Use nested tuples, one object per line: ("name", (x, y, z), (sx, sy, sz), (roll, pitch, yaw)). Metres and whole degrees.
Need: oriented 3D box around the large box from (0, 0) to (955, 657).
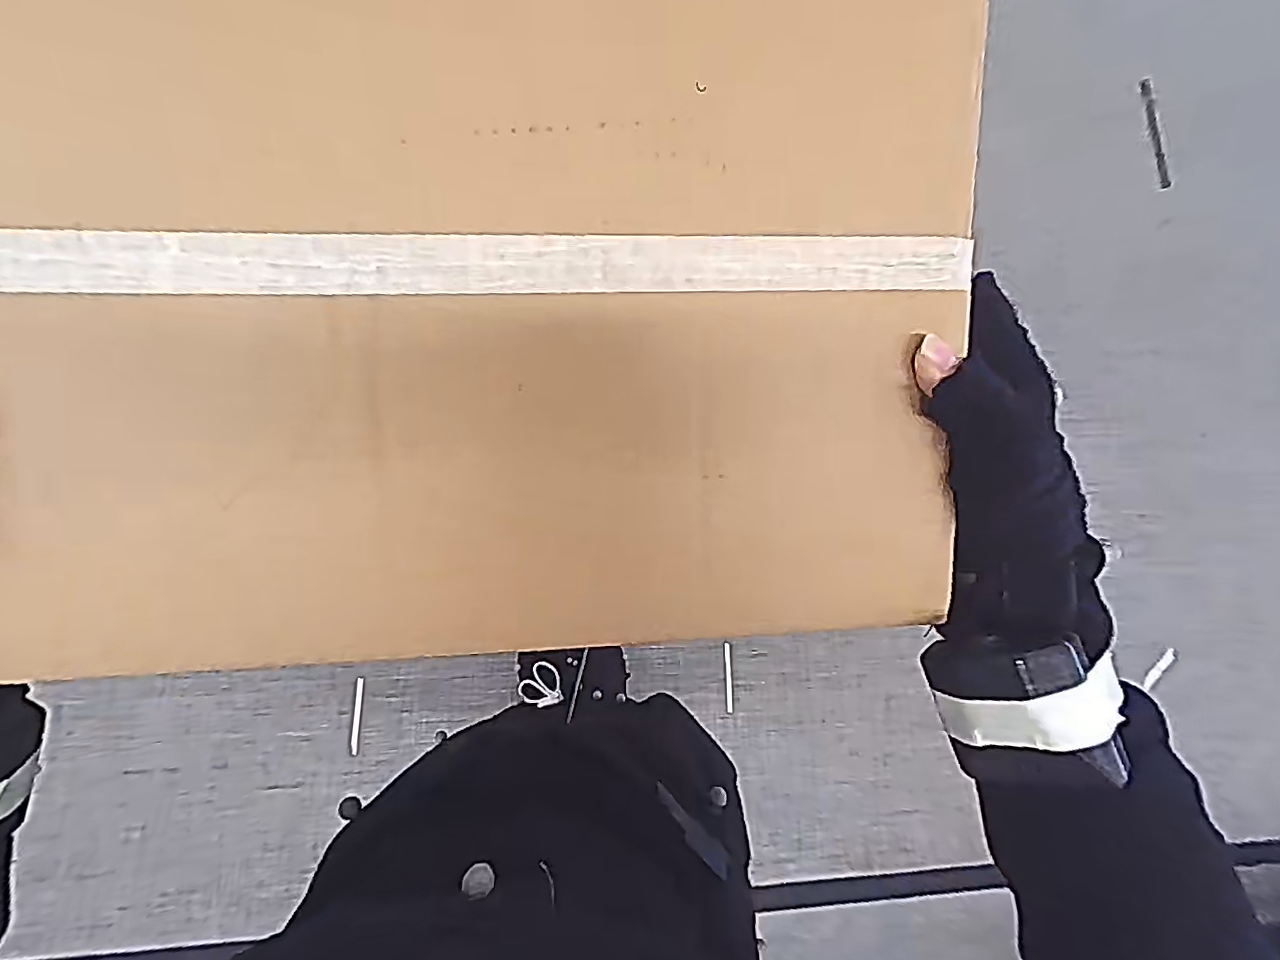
("large box", (-0.081, -0.108, 0.365), (0.408, 0.320, 0.320), (-1, 98, -6))
